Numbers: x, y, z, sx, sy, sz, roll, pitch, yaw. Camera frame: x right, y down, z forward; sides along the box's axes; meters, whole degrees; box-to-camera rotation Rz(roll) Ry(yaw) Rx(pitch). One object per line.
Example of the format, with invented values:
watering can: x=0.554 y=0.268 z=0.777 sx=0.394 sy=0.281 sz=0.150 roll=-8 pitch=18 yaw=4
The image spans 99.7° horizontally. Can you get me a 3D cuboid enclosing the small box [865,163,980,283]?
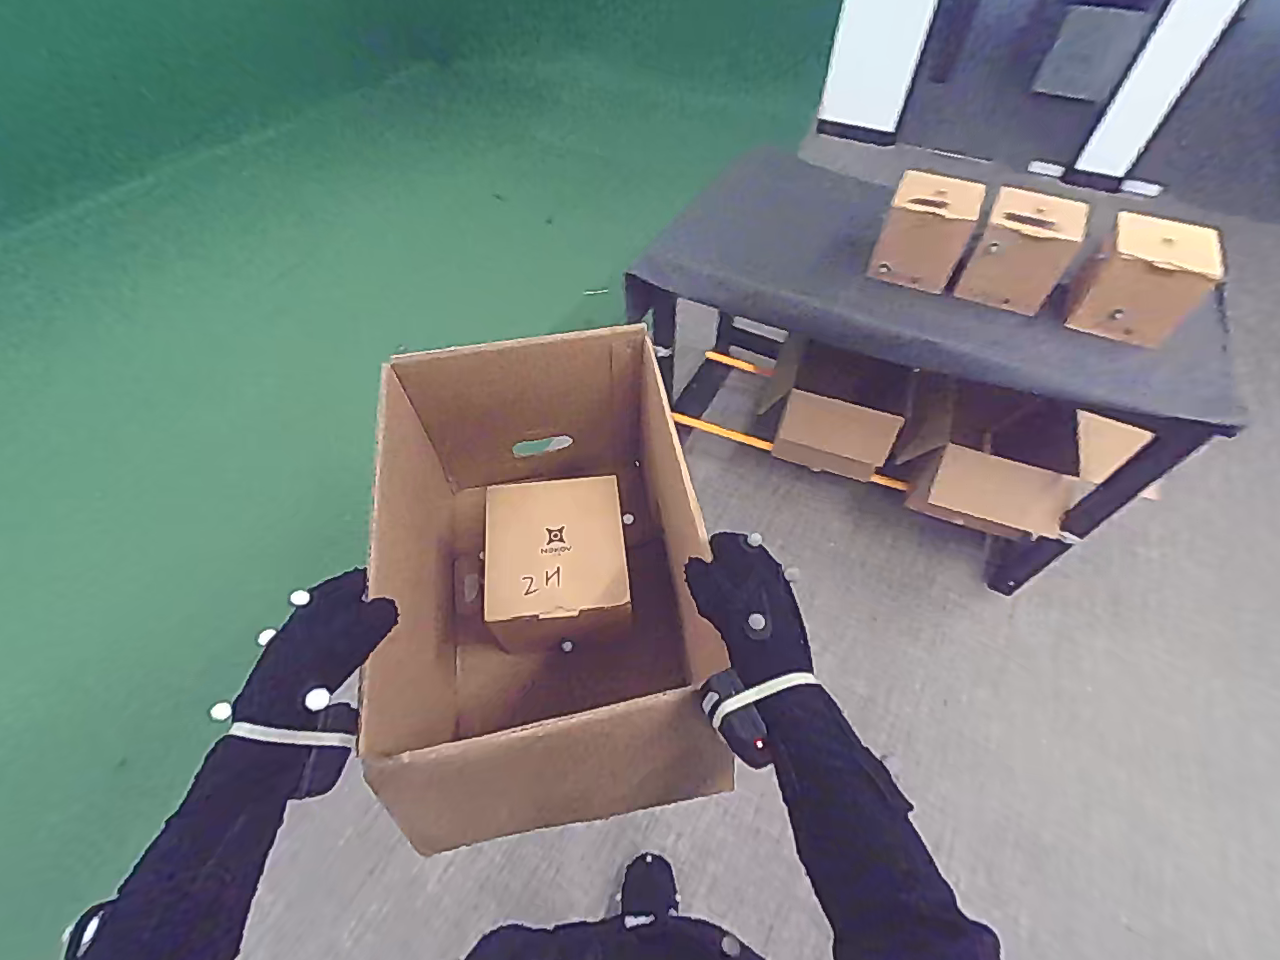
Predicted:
small box: x=0.616 y=-0.565 z=1.195 sx=0.168 sy=0.176 sz=0.179 roll=22 pitch=57 yaw=15

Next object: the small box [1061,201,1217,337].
small box: x=0.987 y=-0.422 z=1.085 sx=0.168 sy=0.176 sz=0.179 roll=22 pitch=58 yaw=16
